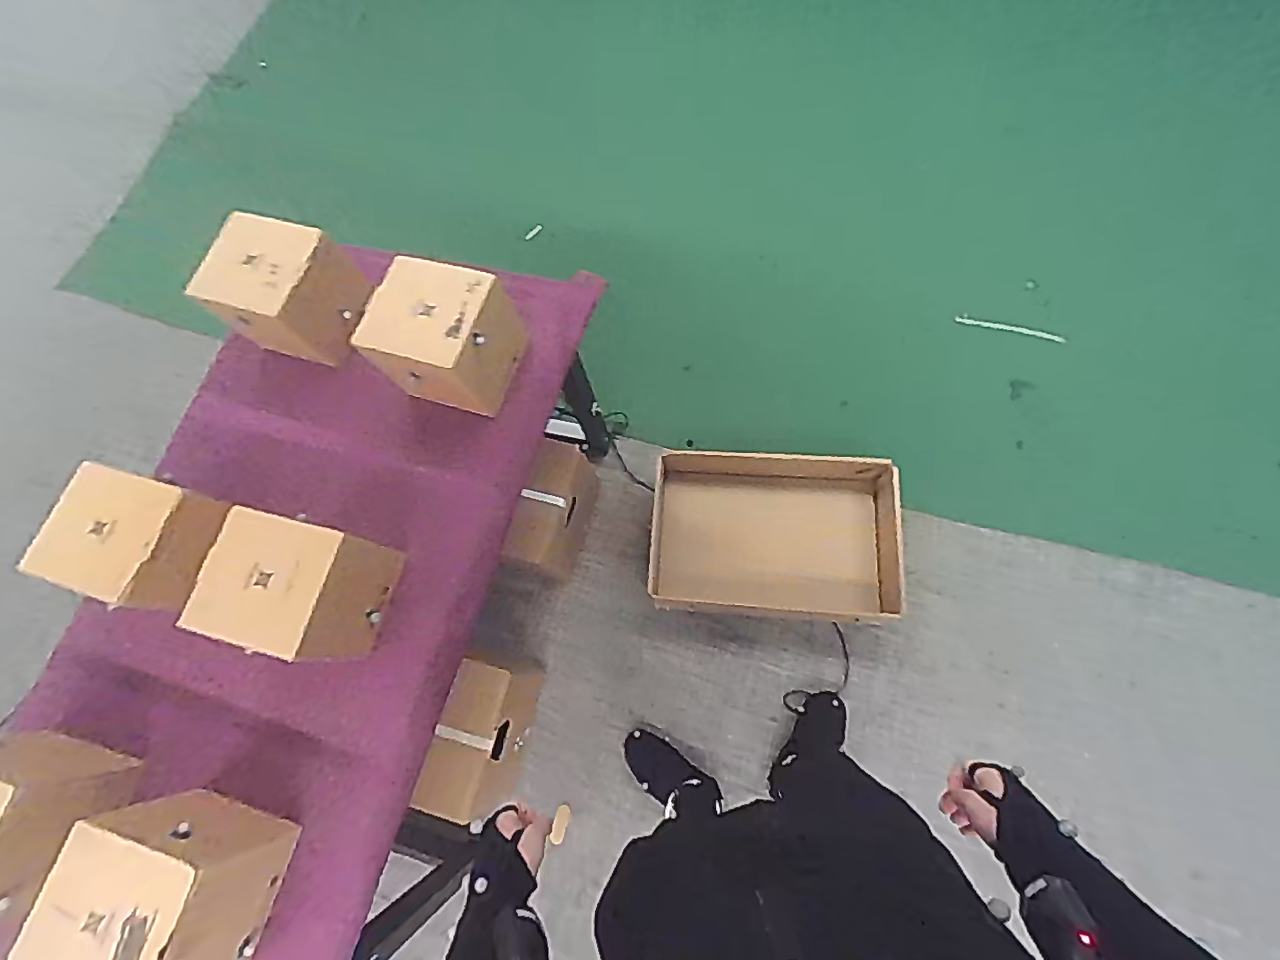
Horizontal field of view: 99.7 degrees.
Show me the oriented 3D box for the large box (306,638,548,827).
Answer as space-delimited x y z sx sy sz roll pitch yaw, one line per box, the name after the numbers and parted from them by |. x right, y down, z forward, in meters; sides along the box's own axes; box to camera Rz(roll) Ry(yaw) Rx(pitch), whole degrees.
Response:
-0.488 0.589 1.327 0.408 0.320 0.320 11 72 11 | large box

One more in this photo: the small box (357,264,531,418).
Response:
-0.307 -0.219 0.881 0.179 0.176 0.168 15 75 13 | small box

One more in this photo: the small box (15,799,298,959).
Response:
-0.568 0.513 0.657 0.179 0.176 0.168 11 72 11 | small box

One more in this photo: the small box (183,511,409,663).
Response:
-0.473 0.159 0.771 0.179 0.176 0.168 12 74 10 | small box

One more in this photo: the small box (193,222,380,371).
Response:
-0.601 -0.311 0.943 0.179 0.176 0.168 16 76 10 | small box

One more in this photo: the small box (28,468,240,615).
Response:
-0.723 0.102 0.819 0.179 0.176 0.168 14 72 9 | small box
